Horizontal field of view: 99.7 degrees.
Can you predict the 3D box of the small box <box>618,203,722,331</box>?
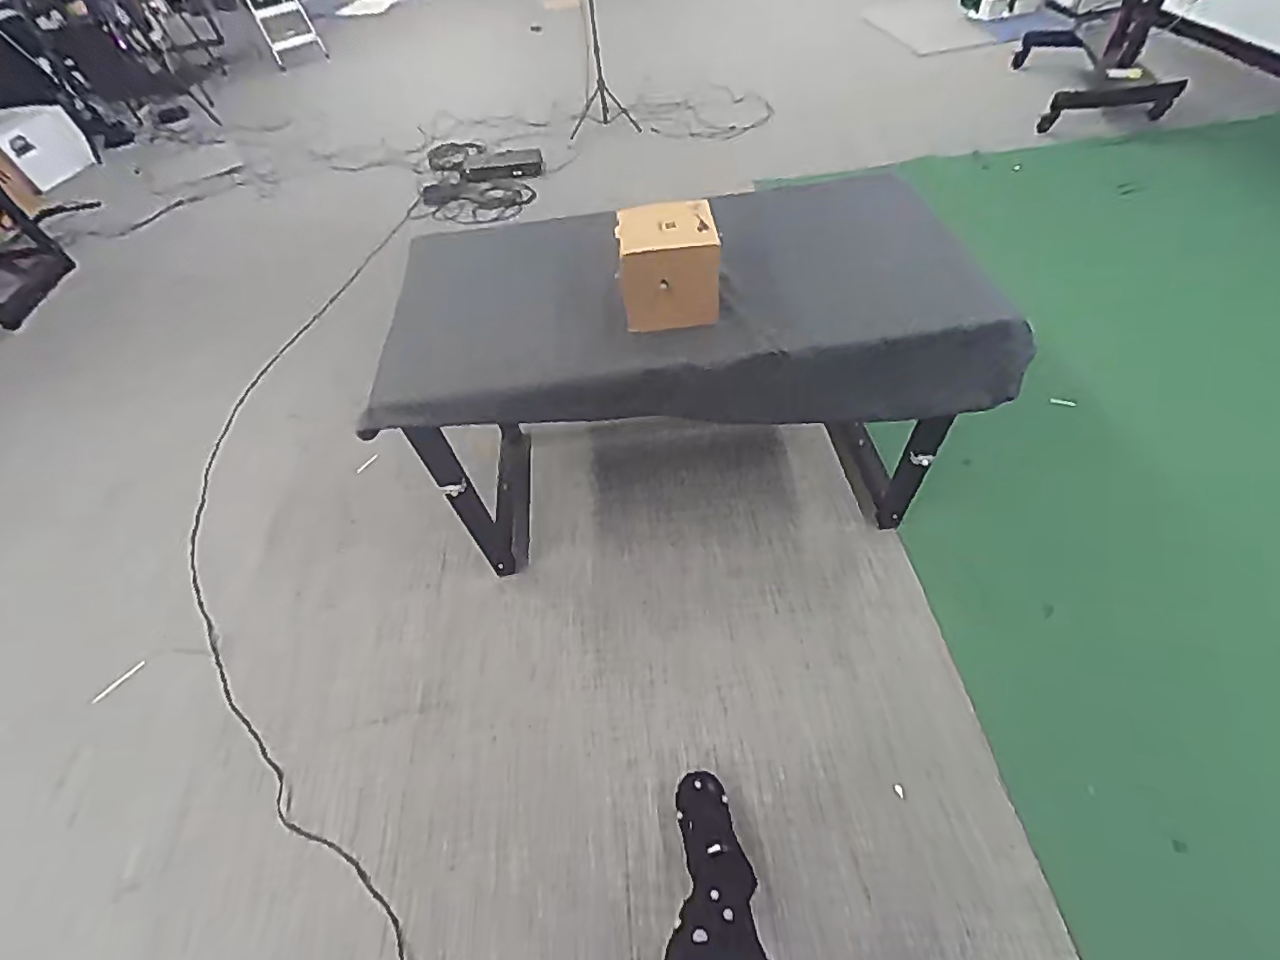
[{"bbox_3d":[0.057,-0.407,1.047,0.179,0.176,0.168,-7,51,0],"label":"small box"}]
